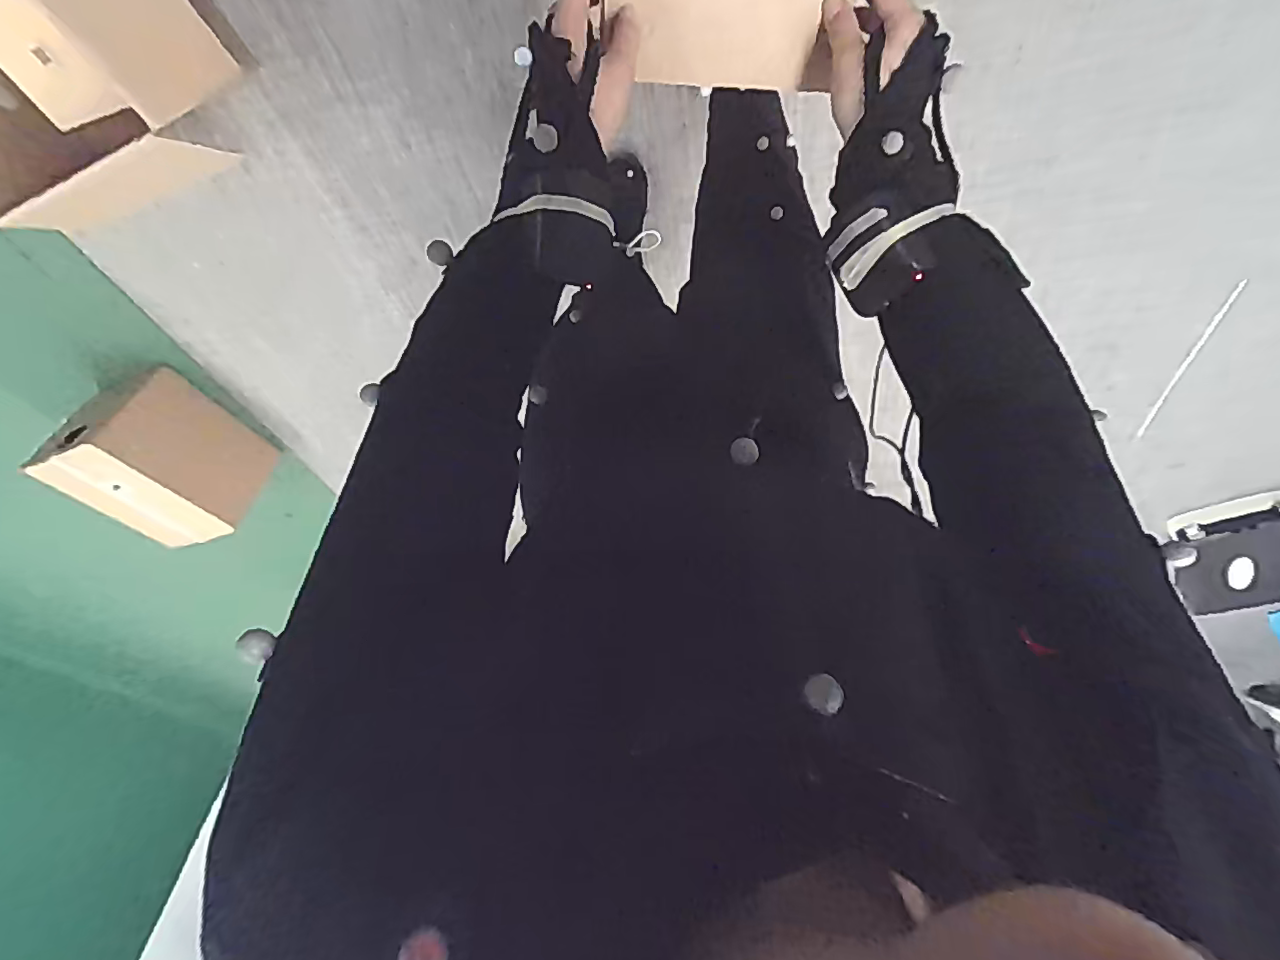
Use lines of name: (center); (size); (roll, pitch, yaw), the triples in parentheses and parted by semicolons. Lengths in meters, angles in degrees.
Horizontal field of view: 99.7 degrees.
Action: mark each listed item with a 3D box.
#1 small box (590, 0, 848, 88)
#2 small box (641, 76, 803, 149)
small box: (0.055, -0.407, 0.391); (0.179, 0.176, 0.168); (1, 138, -3)
small box: (0.124, -0.632, 0.798); (0.179, 0.168, 0.176); (7, 174, -32)
